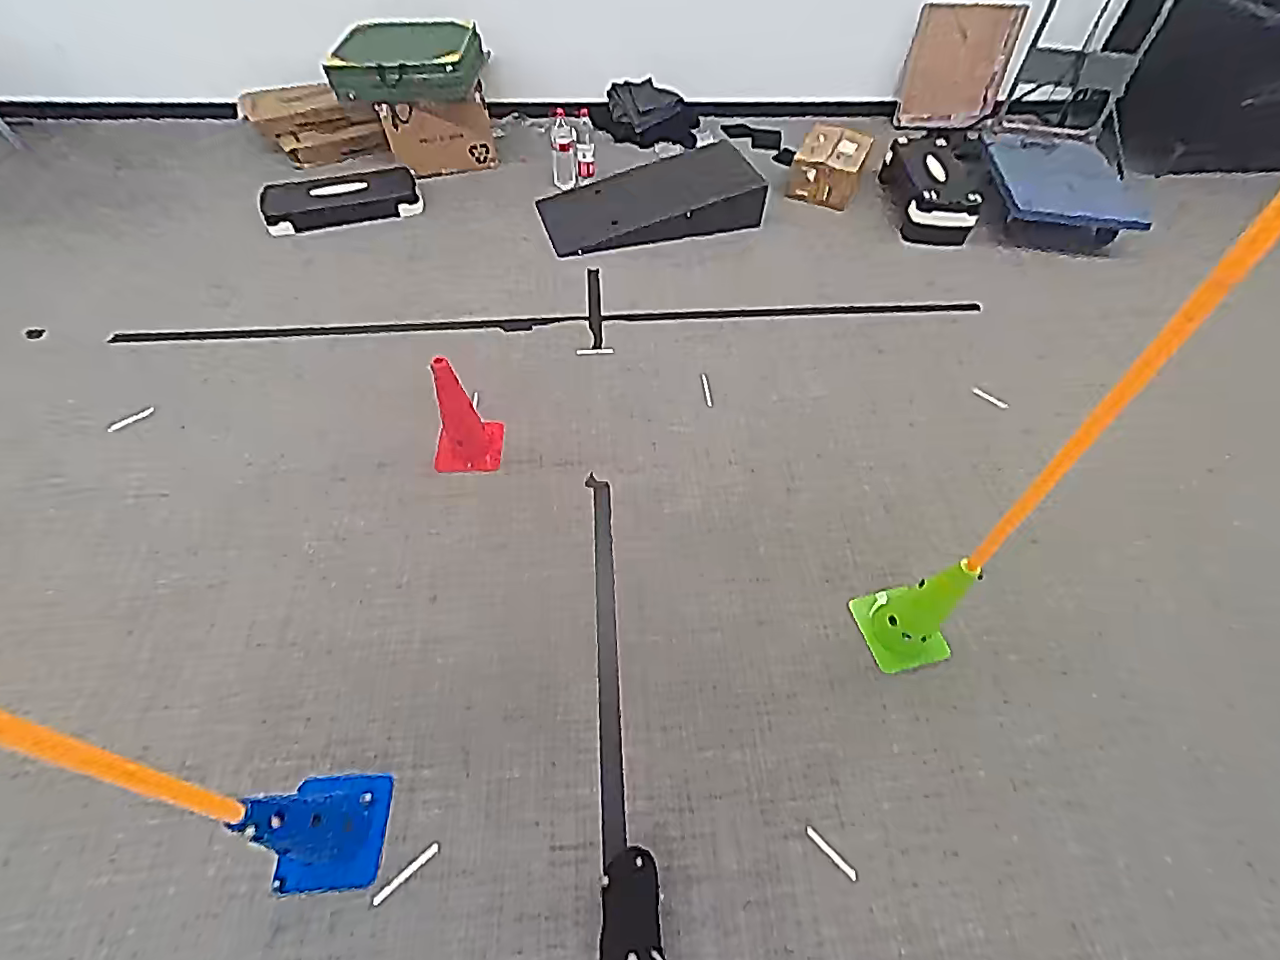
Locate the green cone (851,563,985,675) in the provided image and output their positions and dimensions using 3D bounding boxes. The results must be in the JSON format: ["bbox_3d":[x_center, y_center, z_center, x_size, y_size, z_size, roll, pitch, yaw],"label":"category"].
[{"bbox_3d":[0.675,0.286,1.253,0.200,0.368,0.202,-12,56,-10],"label":"green cone"}]

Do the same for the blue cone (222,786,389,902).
[{"bbox_3d":[-0.612,0.635,0.964,0.193,0.380,0.192,-1,54,-2],"label":"blue cone"}]
